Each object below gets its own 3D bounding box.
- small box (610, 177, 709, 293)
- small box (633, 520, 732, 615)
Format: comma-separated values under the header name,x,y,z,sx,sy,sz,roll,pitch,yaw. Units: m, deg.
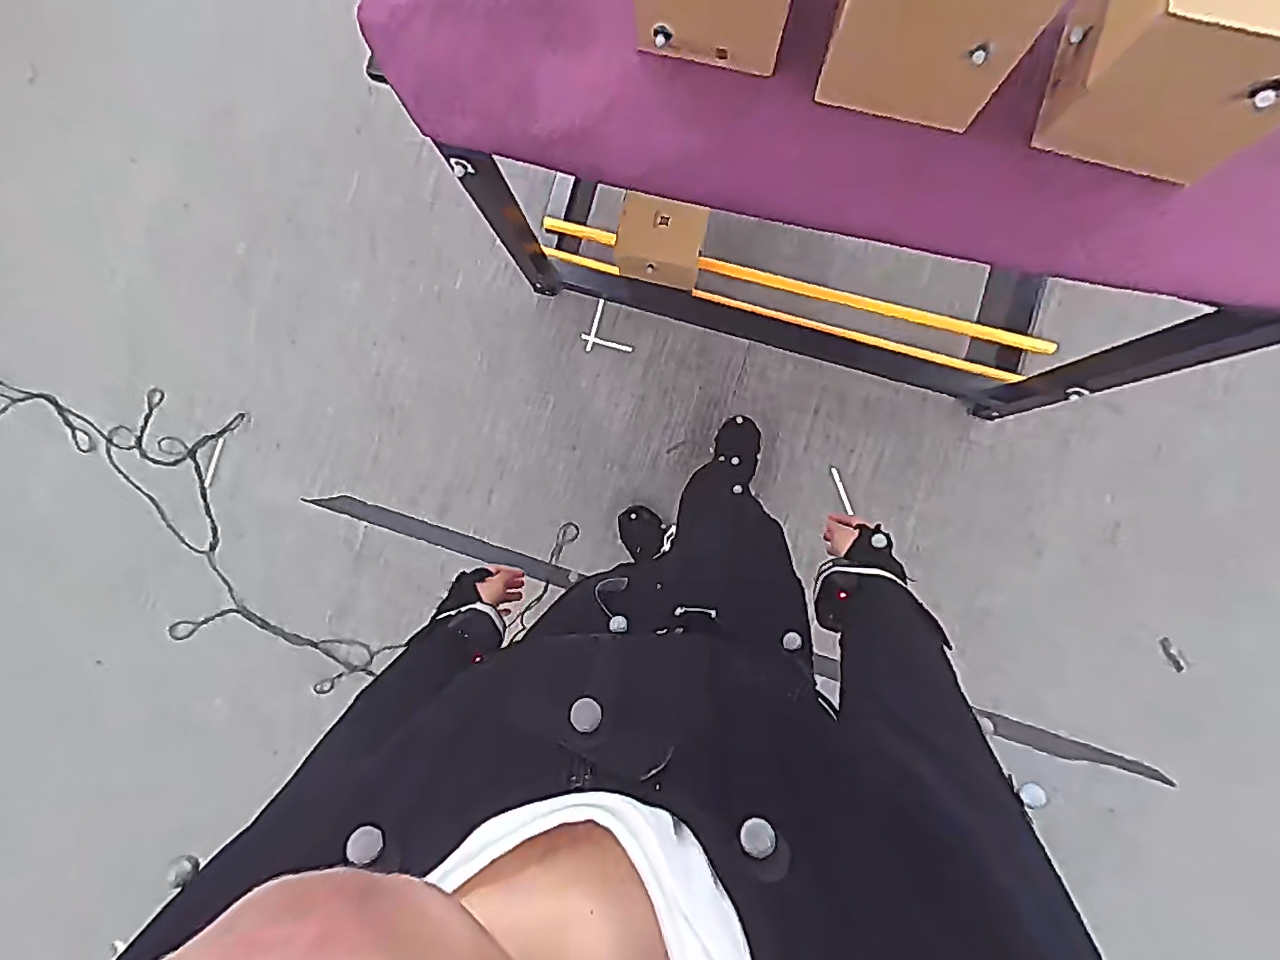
name,x,y,z,sx,sy,sz,roll,pitch,yaw
small box,0.045,-0.525,1.183,0.179,0.176,0.168,12,90,4
small box,0.095,0.198,1.246,0.179,0.176,0.168,-26,85,2
